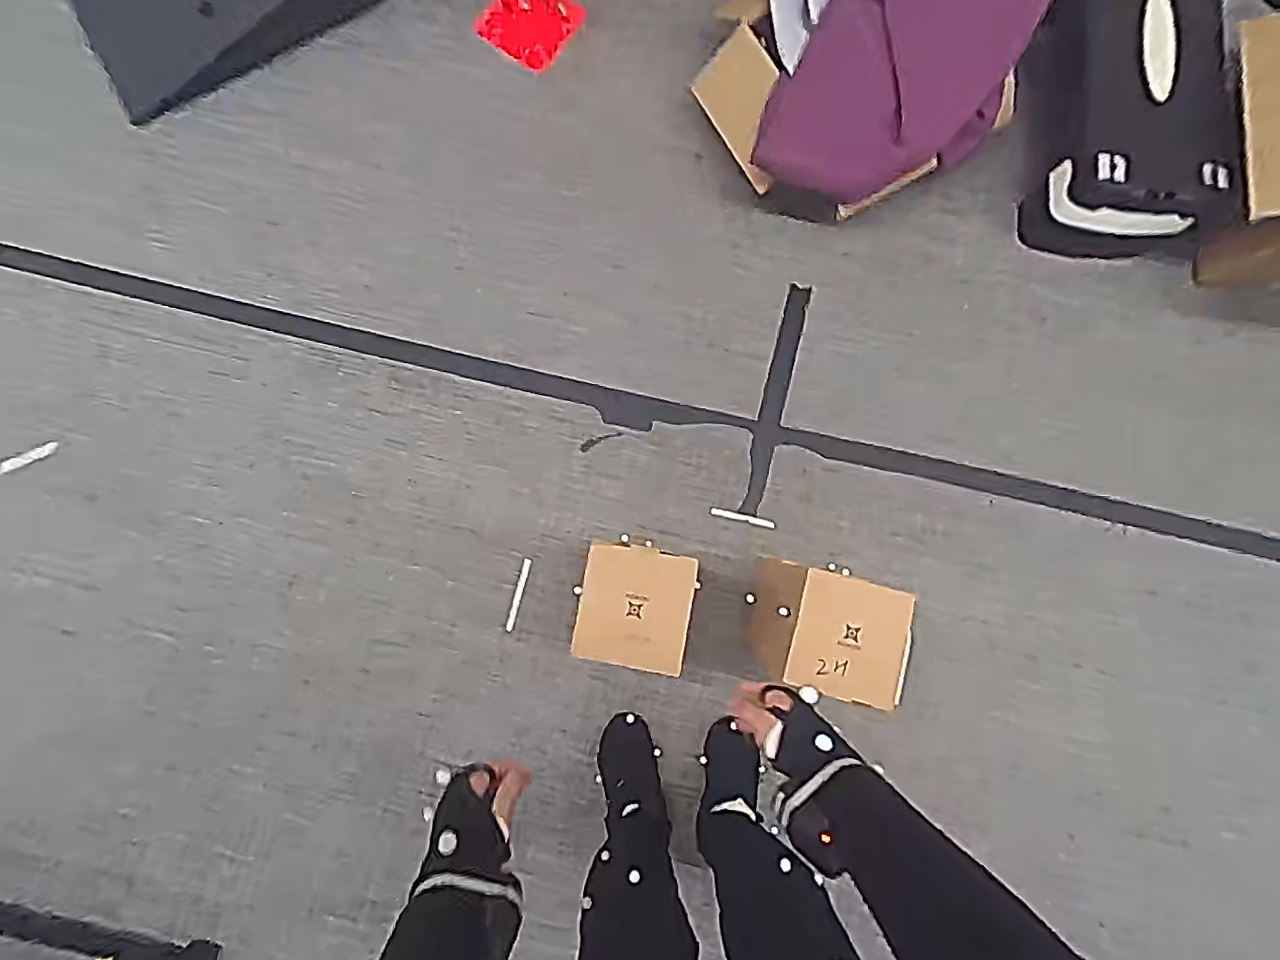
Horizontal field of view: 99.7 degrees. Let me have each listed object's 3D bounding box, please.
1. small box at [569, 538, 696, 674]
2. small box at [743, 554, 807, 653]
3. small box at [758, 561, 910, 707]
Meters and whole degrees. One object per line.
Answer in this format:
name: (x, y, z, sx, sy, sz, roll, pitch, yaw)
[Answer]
small box: (-0.010, 0.193, 0.876, 0.168, 0.176, 0.179, 9, 85, 2)
small box: (0.304, 0.247, 1.039, 0.168, 0.176, 0.179, 13, 84, 1)
small box: (0.300, 0.234, 0.873, 0.168, 0.176, 0.179, 15, 84, 1)
